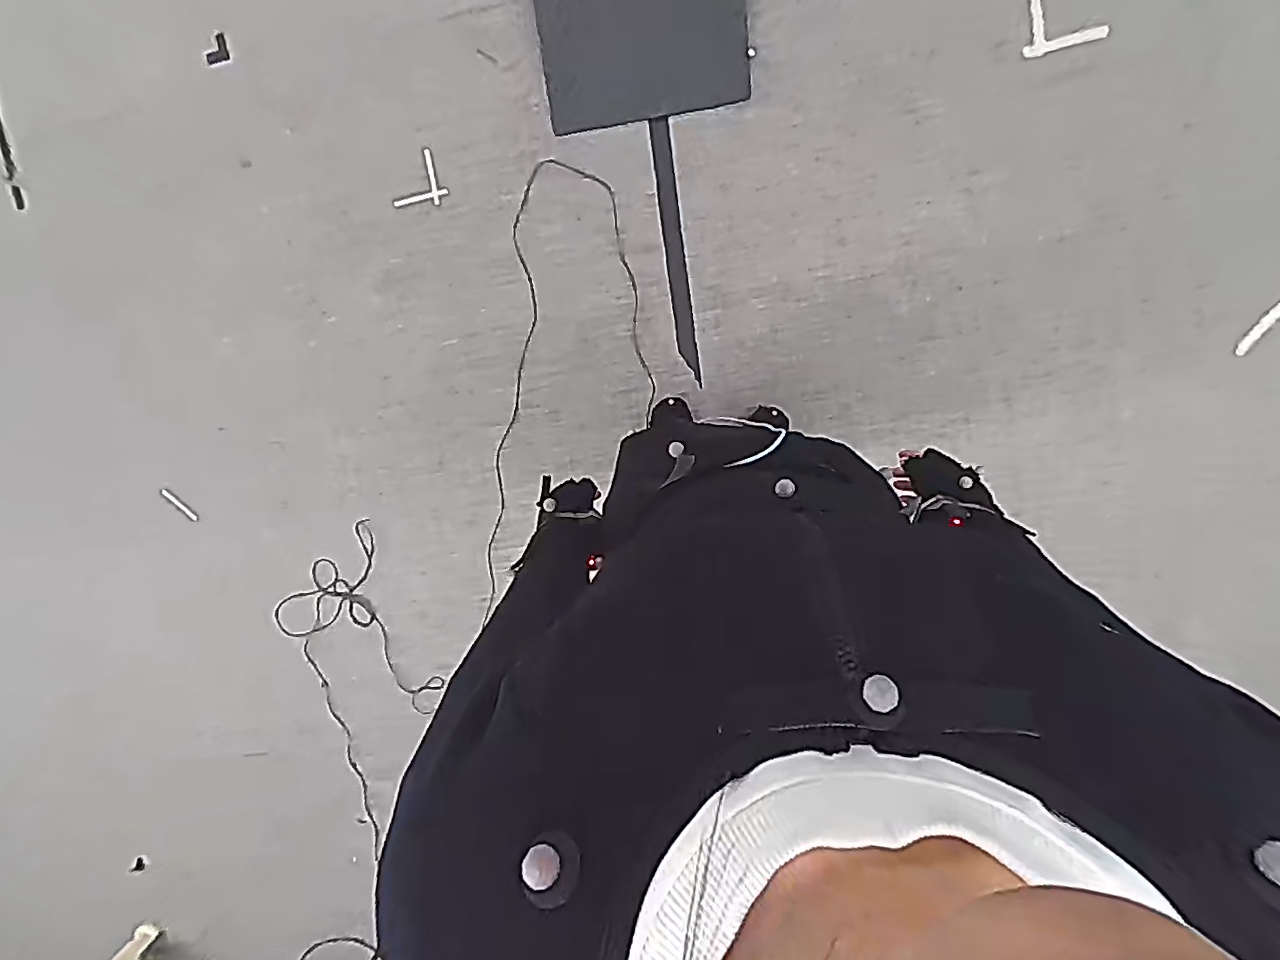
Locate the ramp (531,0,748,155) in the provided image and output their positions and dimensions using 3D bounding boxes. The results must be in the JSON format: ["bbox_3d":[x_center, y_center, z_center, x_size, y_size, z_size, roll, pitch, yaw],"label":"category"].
[{"bbox_3d":[-0.046,-1.335,1.217,0.509,0.206,0.991,-9,97,8],"label":"ramp"}]
